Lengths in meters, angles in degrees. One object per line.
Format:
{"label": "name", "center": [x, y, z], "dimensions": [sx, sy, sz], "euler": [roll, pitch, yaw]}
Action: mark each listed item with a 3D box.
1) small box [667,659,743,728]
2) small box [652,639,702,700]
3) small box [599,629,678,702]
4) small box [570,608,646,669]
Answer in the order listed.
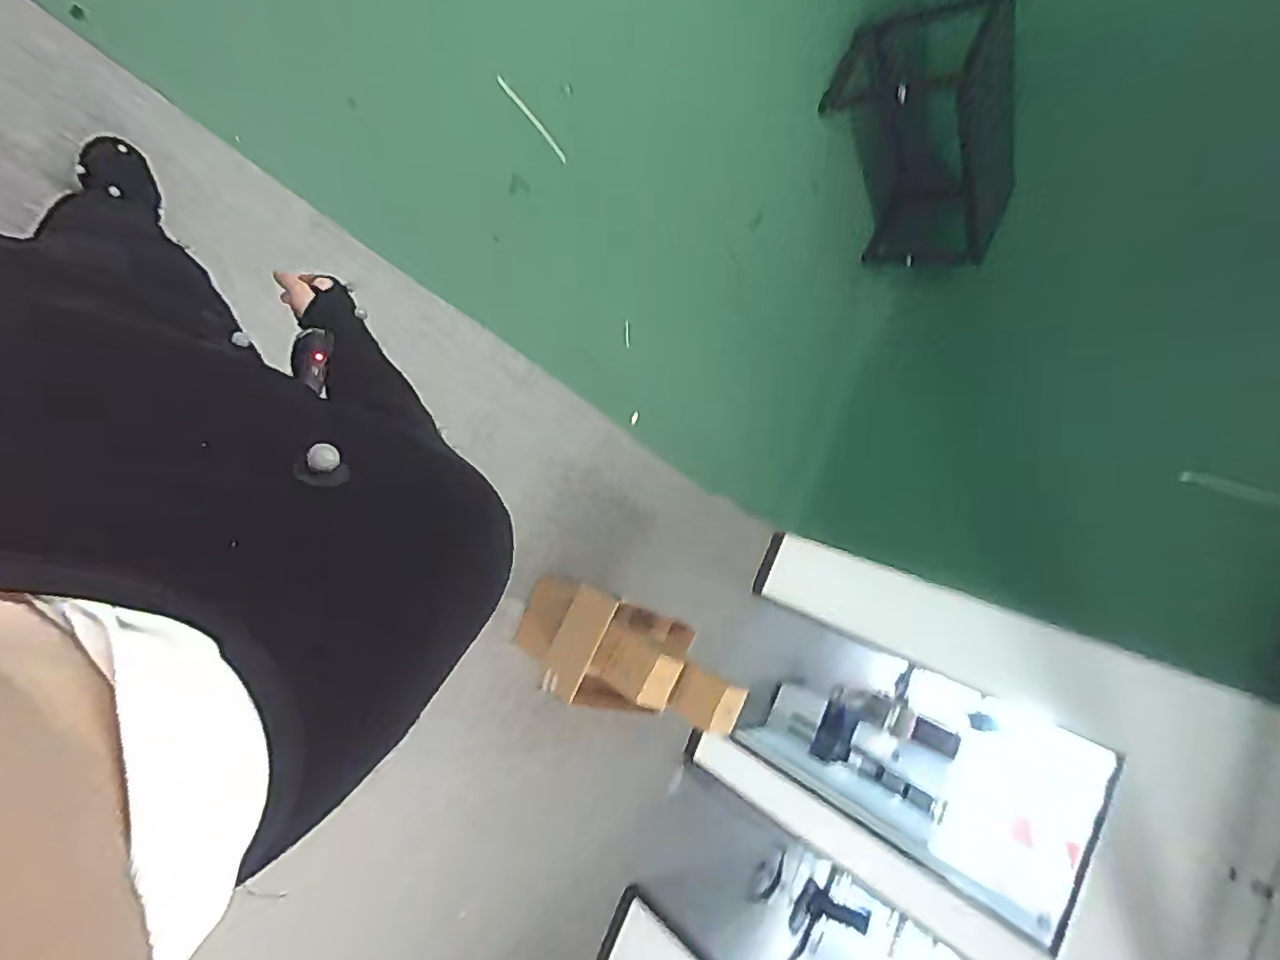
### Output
{"label": "small box", "center": [0.227, 0.748, 1.898], "dimensions": [0.179, 0.176, 0.168], "euler": [33, 79, -48]}
{"label": "small box", "center": [0.118, 0.712, 2.016], "dimensions": [0.179, 0.176, 0.168], "euler": [36, 78, -47]}
{"label": "small box", "center": [-0.006, 0.625, 1.828], "dimensions": [0.179, 0.176, 0.168], "euler": [41, 74, -50]}
{"label": "small box", "center": [-0.118, 0.577, 1.938], "dimensions": [0.179, 0.176, 0.168], "euler": [38, 76, -51]}
